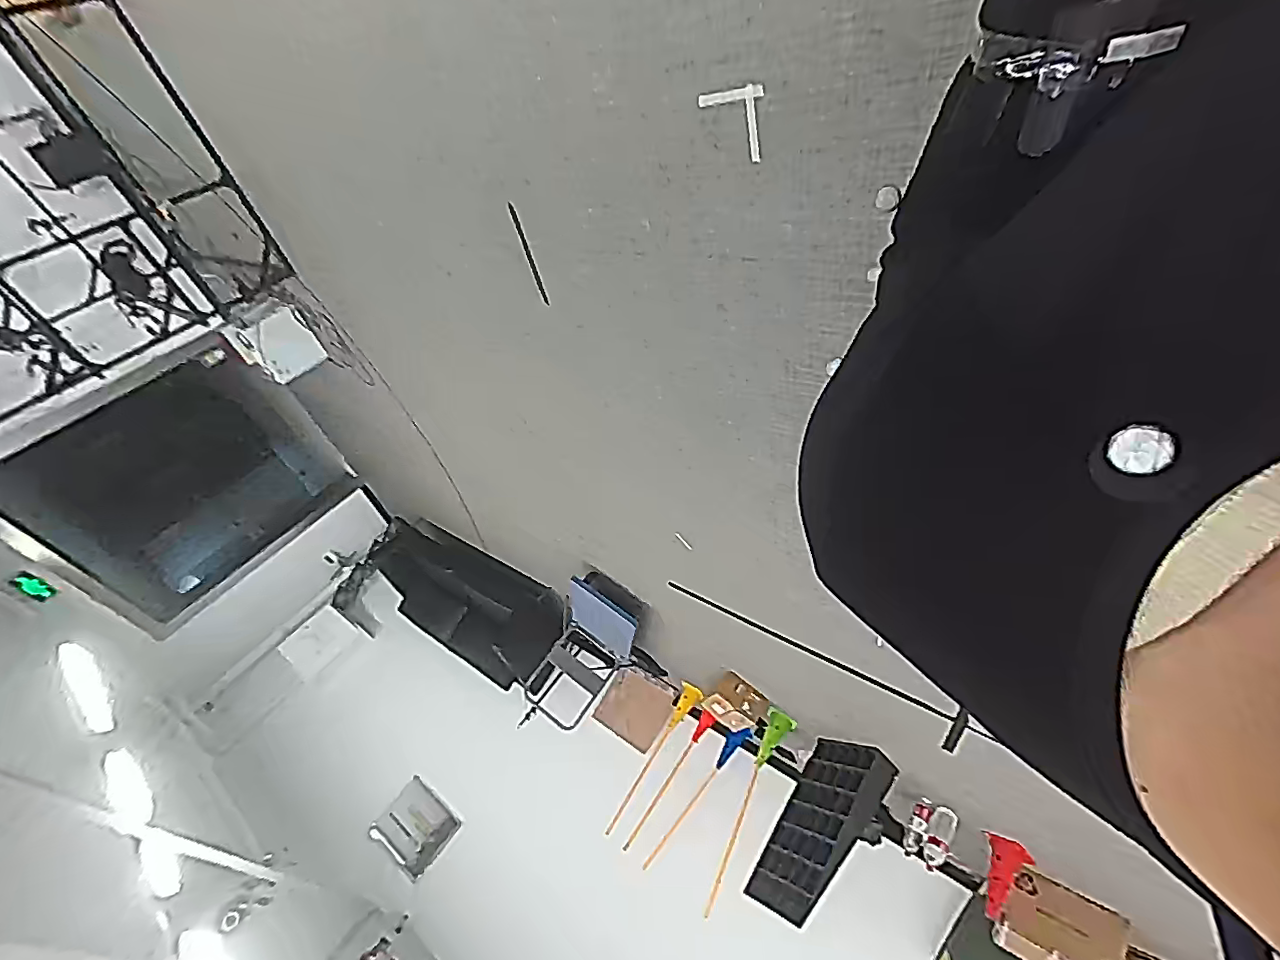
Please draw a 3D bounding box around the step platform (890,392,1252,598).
[{"bbox_3d":[1.002,0.023,1.346,0.684,0.204,0.286,25,146,30],"label":"step platform"}]
